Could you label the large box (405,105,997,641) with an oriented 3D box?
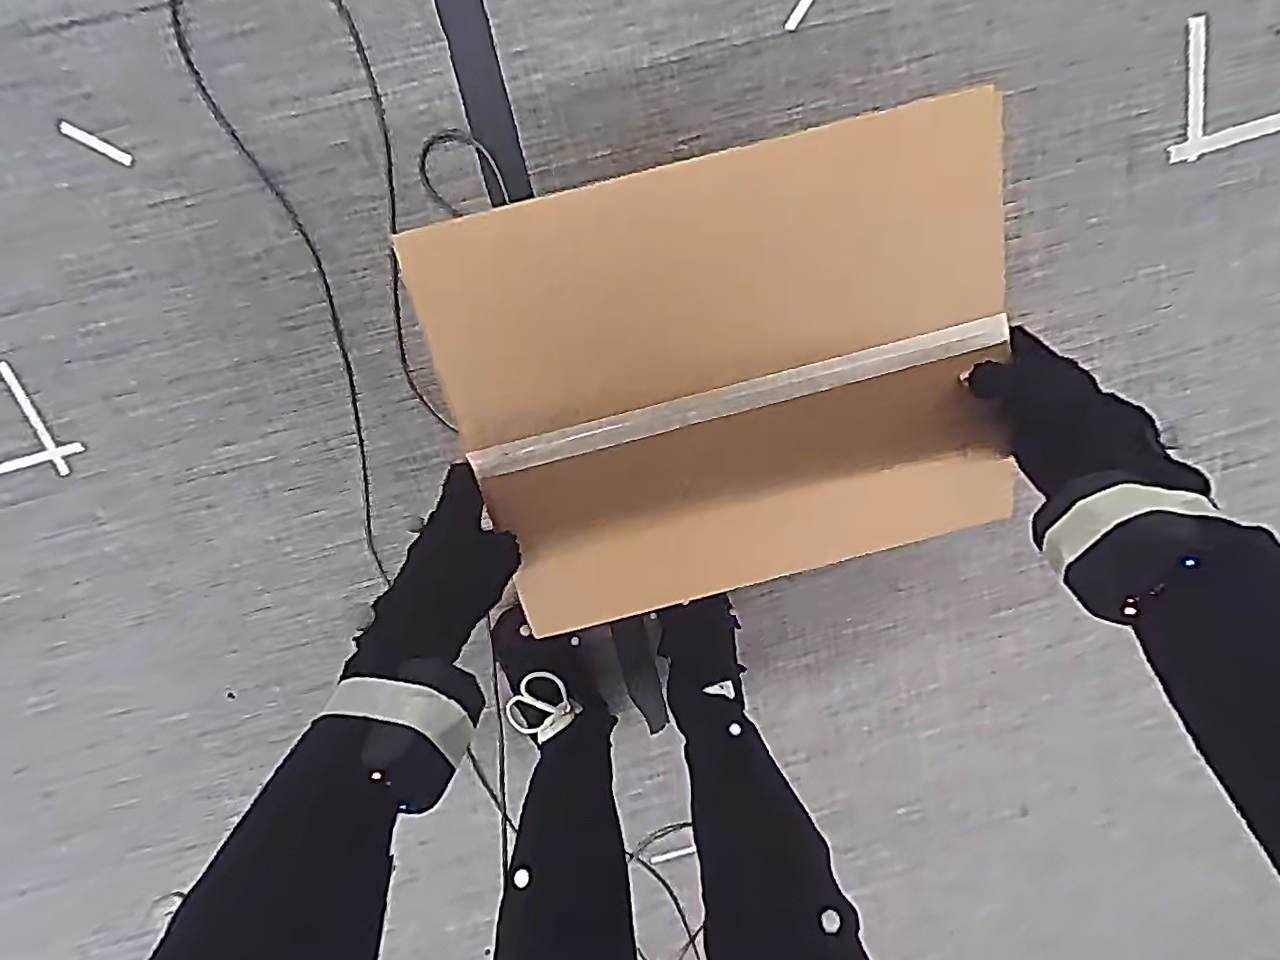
[{"bbox_3d":[0.059,-0.103,0.543,0.408,0.320,0.320,-15,108,0],"label":"large box"}]
